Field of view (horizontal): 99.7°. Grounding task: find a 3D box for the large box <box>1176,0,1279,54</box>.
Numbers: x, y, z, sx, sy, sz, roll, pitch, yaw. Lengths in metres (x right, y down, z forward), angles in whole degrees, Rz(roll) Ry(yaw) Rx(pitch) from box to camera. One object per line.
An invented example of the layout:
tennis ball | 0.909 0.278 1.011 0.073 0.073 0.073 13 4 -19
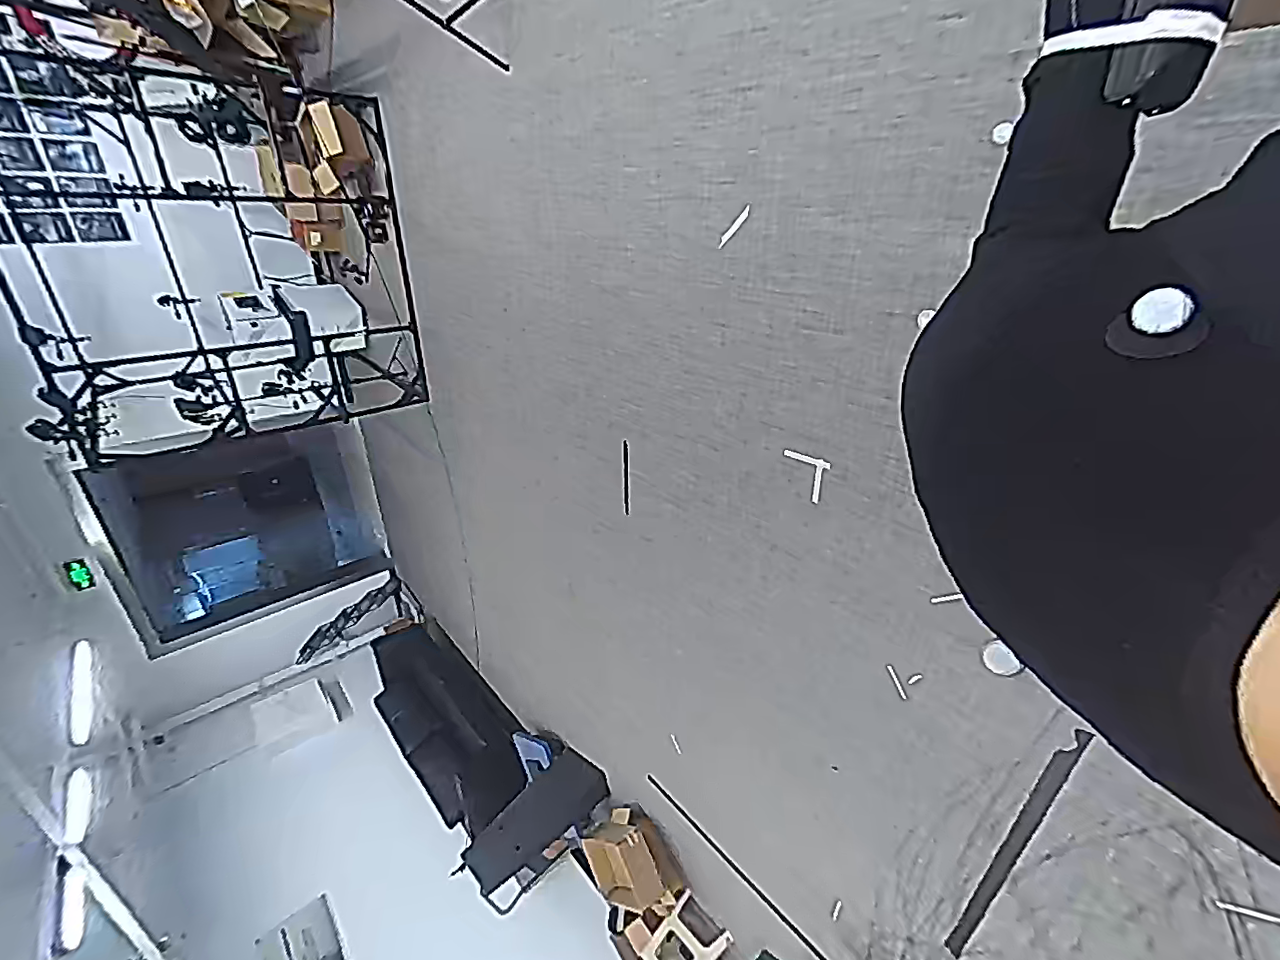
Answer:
large box | 0.556 -0.429 0.228 0.408 0.320 0.320 23 128 40
